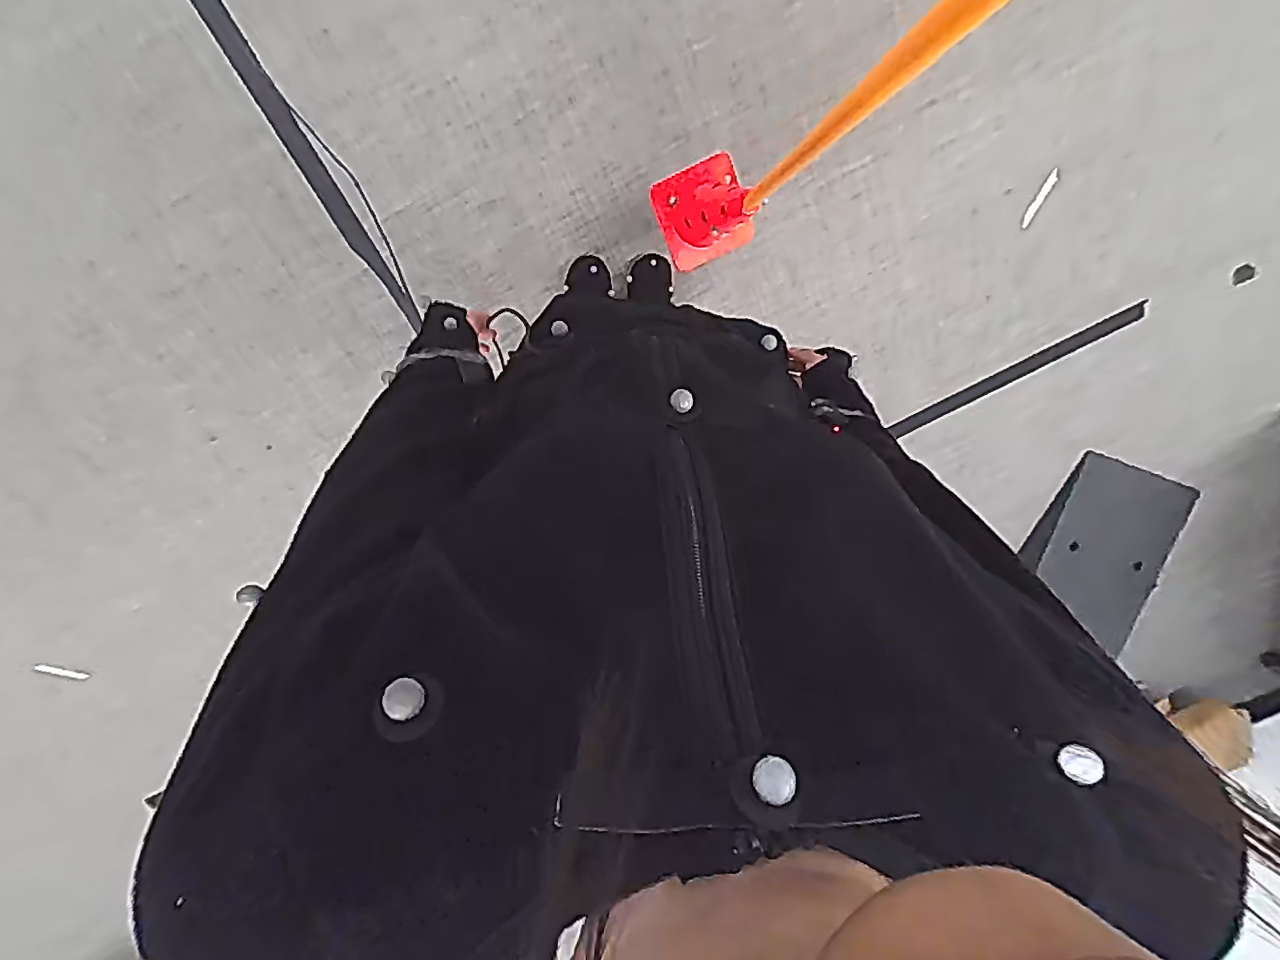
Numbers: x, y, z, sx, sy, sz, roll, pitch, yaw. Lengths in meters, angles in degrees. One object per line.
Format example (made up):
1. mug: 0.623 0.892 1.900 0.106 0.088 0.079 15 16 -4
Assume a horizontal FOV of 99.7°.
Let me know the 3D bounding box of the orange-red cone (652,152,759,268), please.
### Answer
1. orange-red cone: 0.165 -0.542 1.075 0.198 0.360 0.199 -23 115 3
